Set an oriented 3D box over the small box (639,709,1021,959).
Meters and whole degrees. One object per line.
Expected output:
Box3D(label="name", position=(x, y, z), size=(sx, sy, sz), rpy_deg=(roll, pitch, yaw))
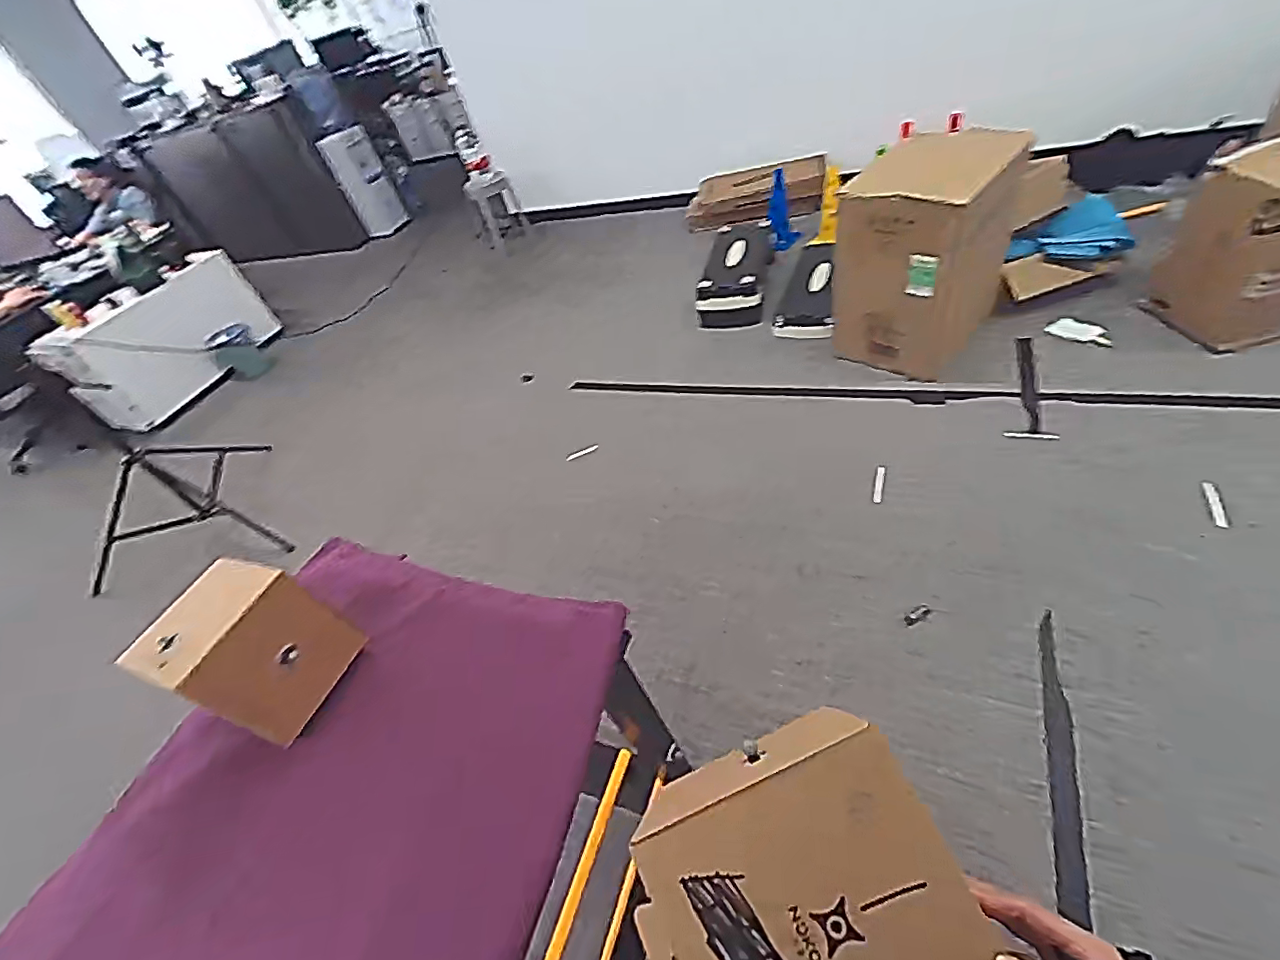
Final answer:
Box3D(label="small box", position=(0.119, 0.281, 0.383), size=(0.179, 0.176, 0.168), rpy_deg=(-25, 70, -2))
